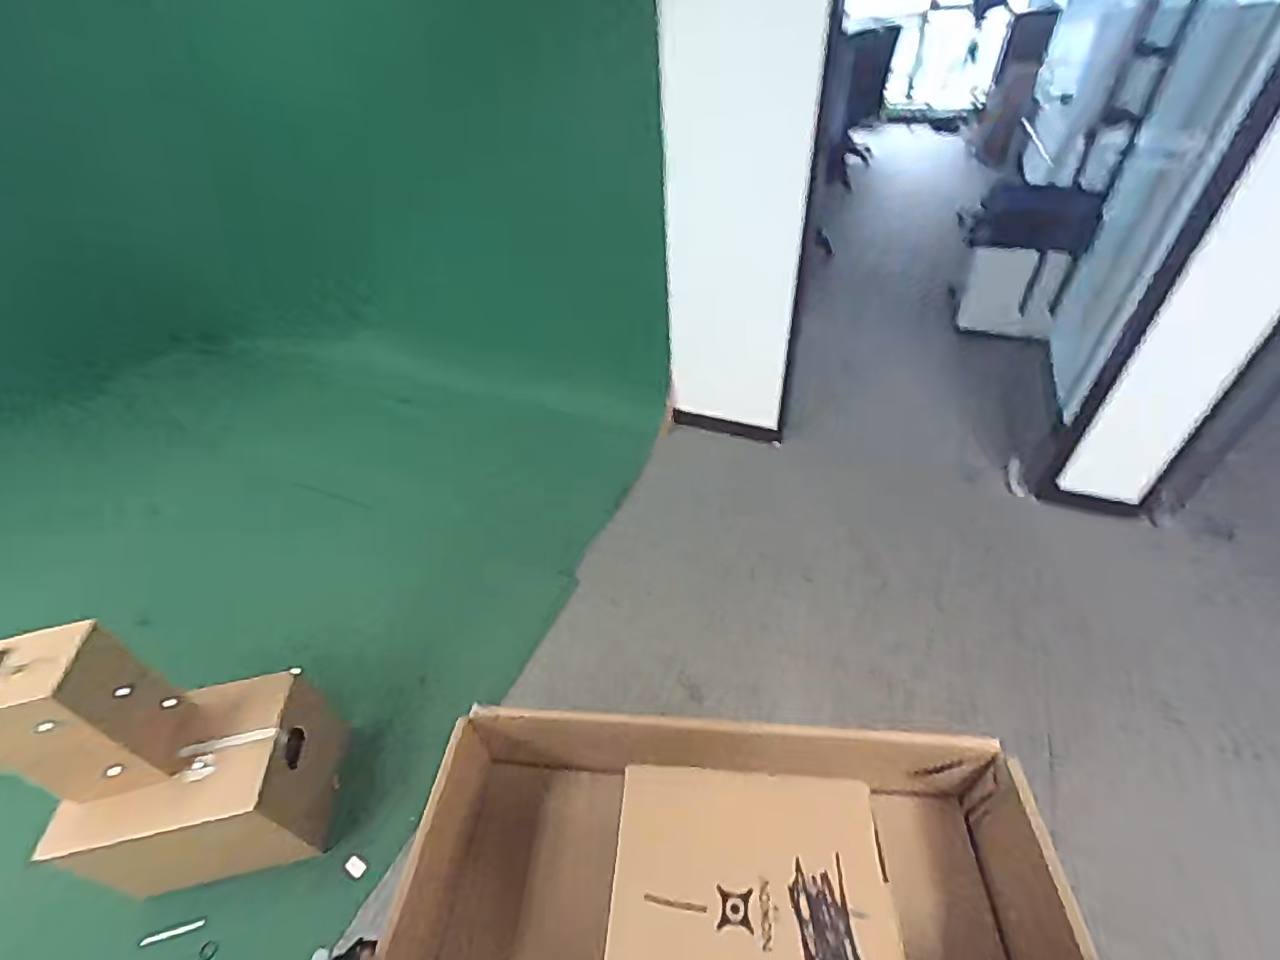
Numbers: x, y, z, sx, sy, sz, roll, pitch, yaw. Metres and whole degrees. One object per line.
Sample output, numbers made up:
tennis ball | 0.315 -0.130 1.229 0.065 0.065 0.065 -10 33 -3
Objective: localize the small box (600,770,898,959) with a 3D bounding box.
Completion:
small box | 0.071 0.328 0.381 0.179 0.176 0.168 -1 41 8
